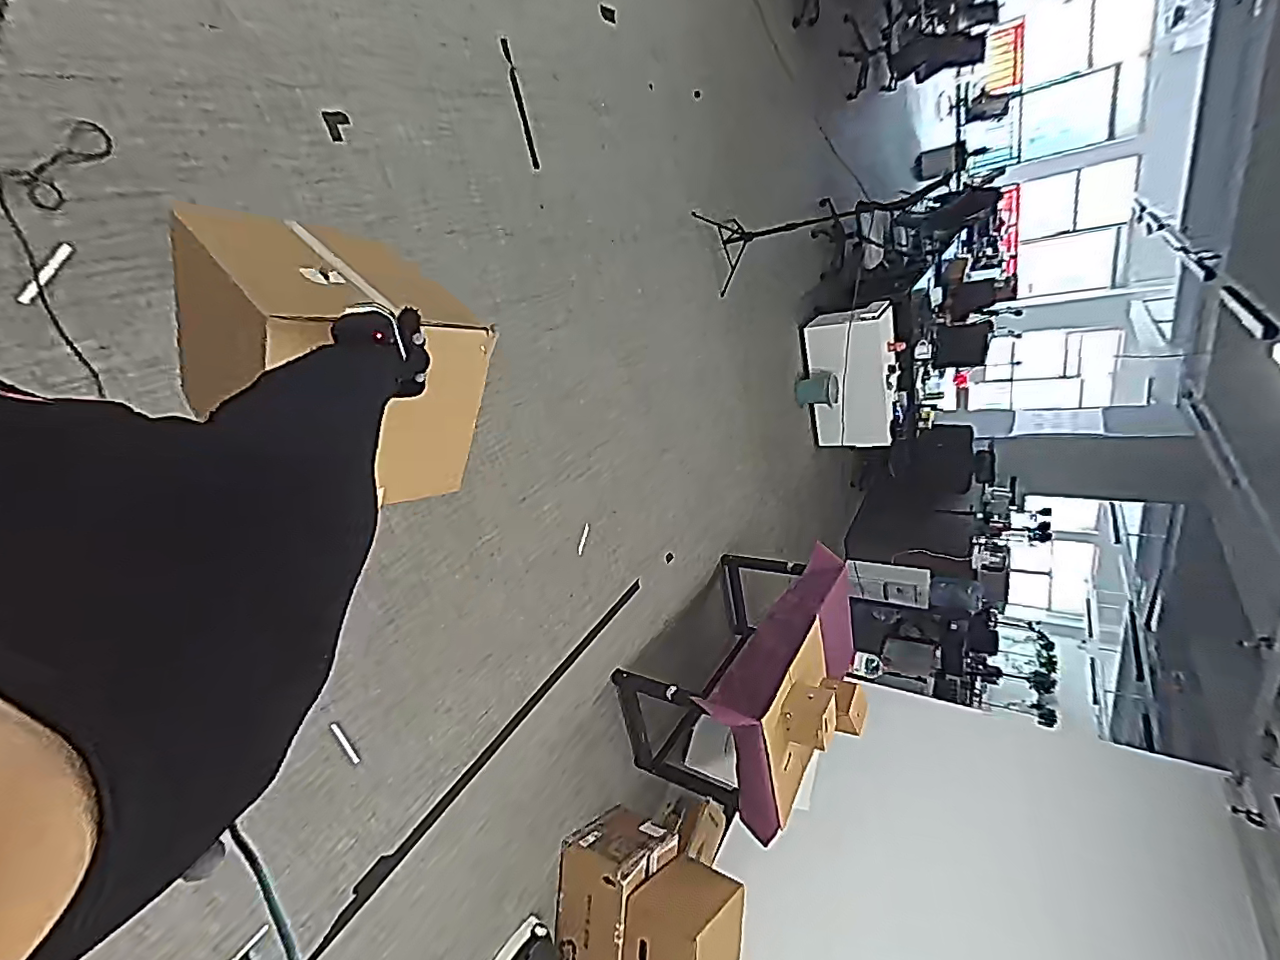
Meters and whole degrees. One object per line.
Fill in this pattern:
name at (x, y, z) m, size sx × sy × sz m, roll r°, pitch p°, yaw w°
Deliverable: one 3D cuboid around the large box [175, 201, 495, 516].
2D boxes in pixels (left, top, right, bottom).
large box at (-0.515, -0.202, 0.899) m, size 0.320 × 0.408 × 0.320 m, roll -15°, pitch 138°, yaw -48°
